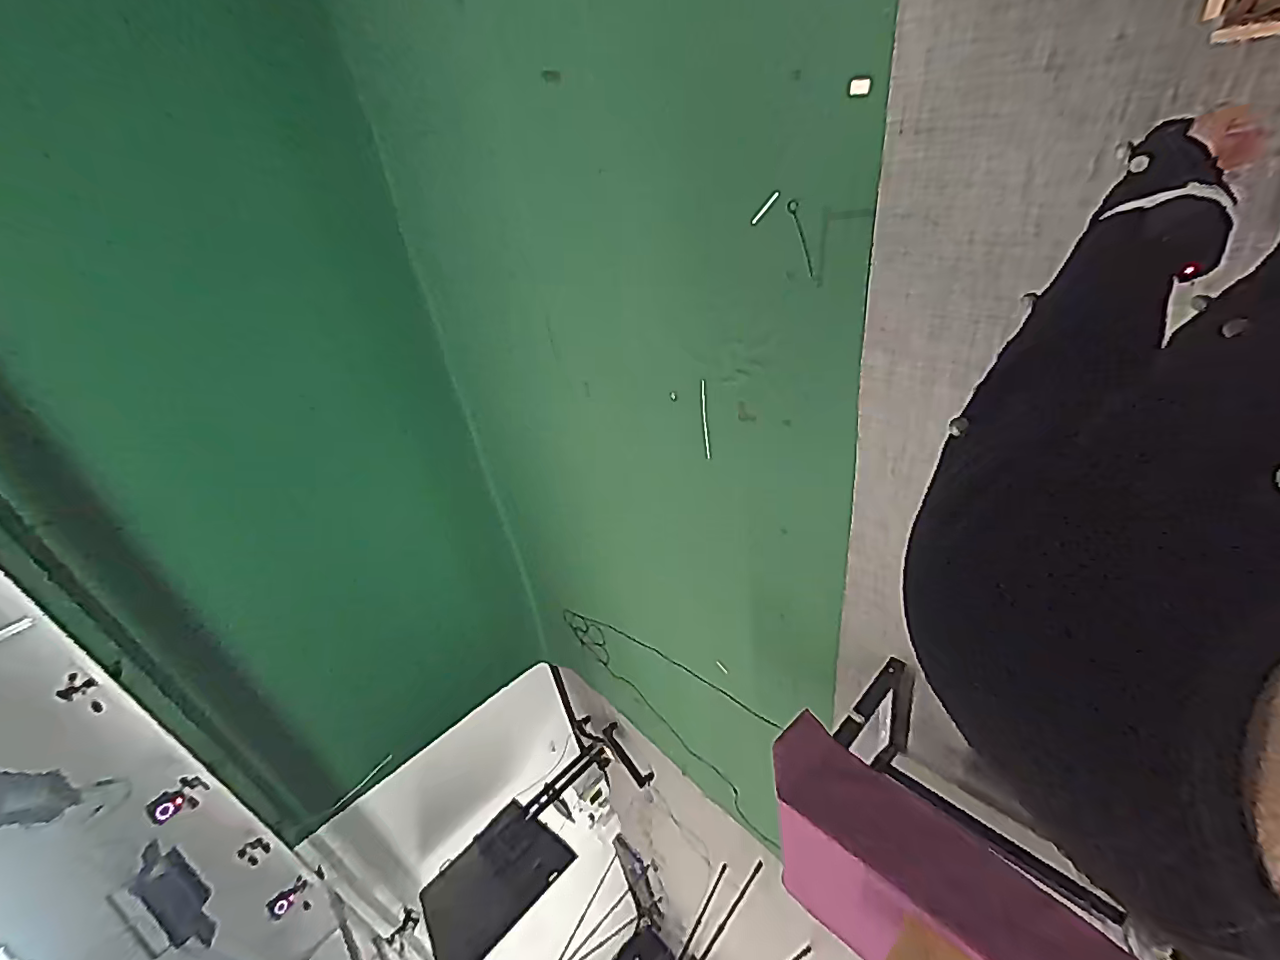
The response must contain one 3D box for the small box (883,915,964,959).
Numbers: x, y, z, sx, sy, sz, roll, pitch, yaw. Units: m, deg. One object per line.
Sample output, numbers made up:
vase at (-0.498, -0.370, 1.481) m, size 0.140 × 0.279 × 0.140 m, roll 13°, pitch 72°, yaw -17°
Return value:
small box at (0.719, 1.268, 1.366) m, size 0.179 × 0.176 × 0.168 m, roll 20°, pitch 132°, yaw 44°
